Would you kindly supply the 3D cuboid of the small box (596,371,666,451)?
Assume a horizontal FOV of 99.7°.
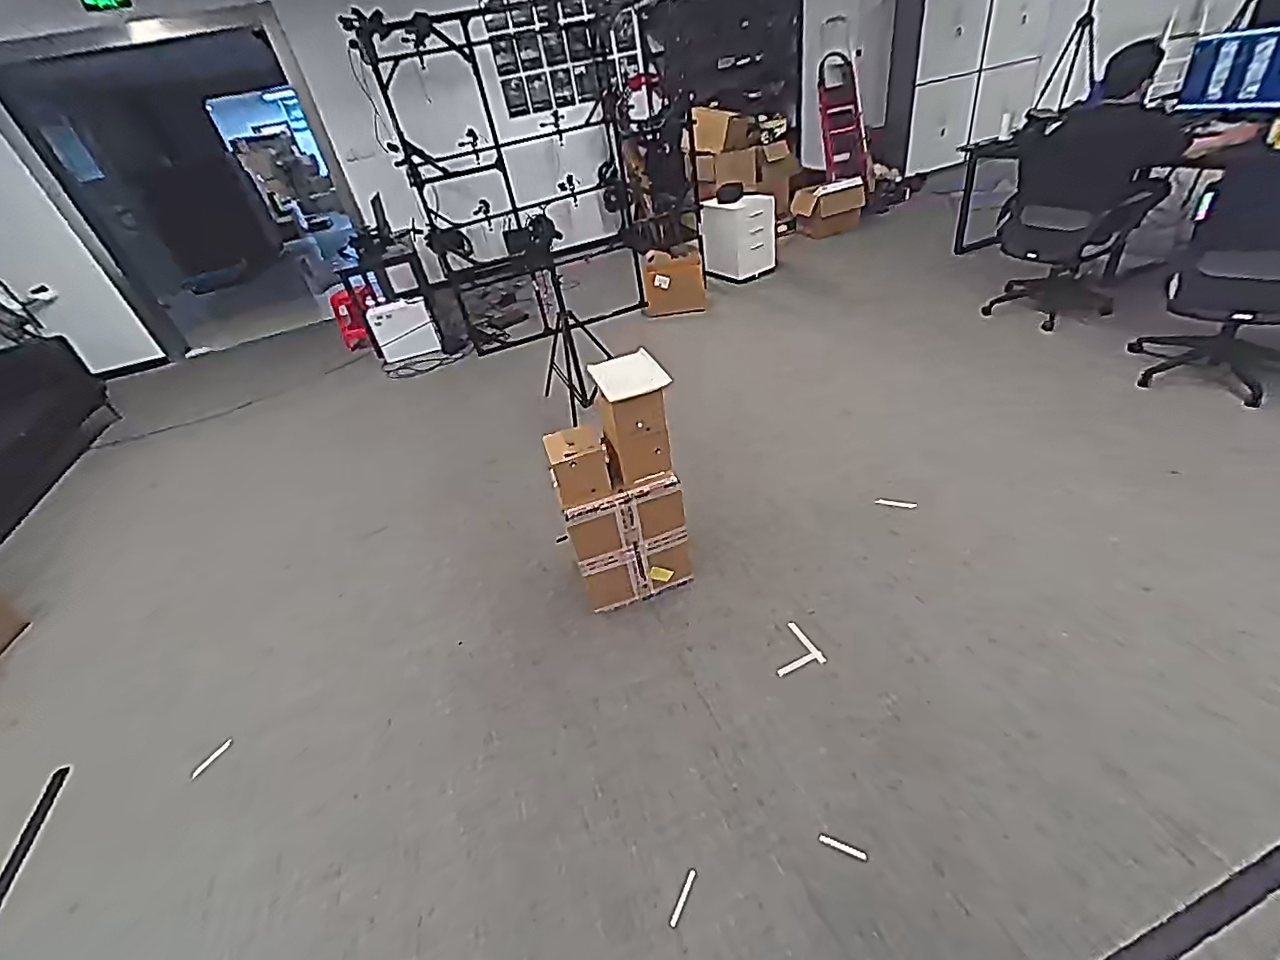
[{"bbox_3d":[-0.028,-0.215,1.693,0.168,0.176,0.179,-17,38,-11],"label":"small box"}]
